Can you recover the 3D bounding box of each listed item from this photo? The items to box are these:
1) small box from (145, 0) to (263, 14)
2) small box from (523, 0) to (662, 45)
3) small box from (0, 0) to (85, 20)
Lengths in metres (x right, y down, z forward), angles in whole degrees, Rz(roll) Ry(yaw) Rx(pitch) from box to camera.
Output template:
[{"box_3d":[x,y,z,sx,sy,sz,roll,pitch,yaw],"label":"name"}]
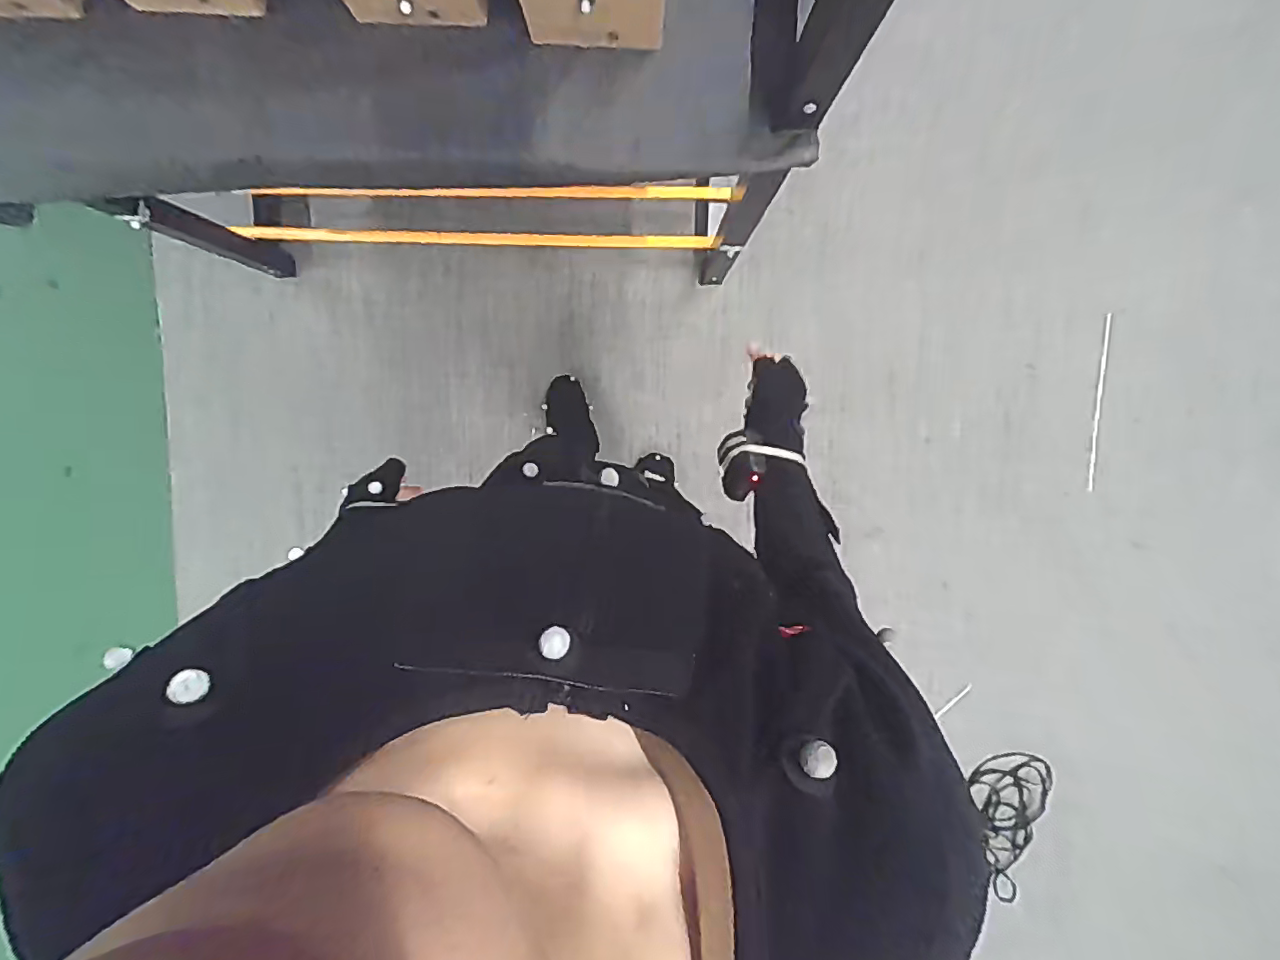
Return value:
[{"box_3d":[-0.548,-0.665,0.595,0.168,0.176,0.179,2,96,-1],"label":"small box"},{"box_3d":[-0.053,-0.629,0.598,0.168,0.176,0.179,3,96,-1],"label":"small box"},{"box_3d":[-0.775,-0.661,0.592,0.168,0.176,0.179,1,97,-1],"label":"small box"}]
